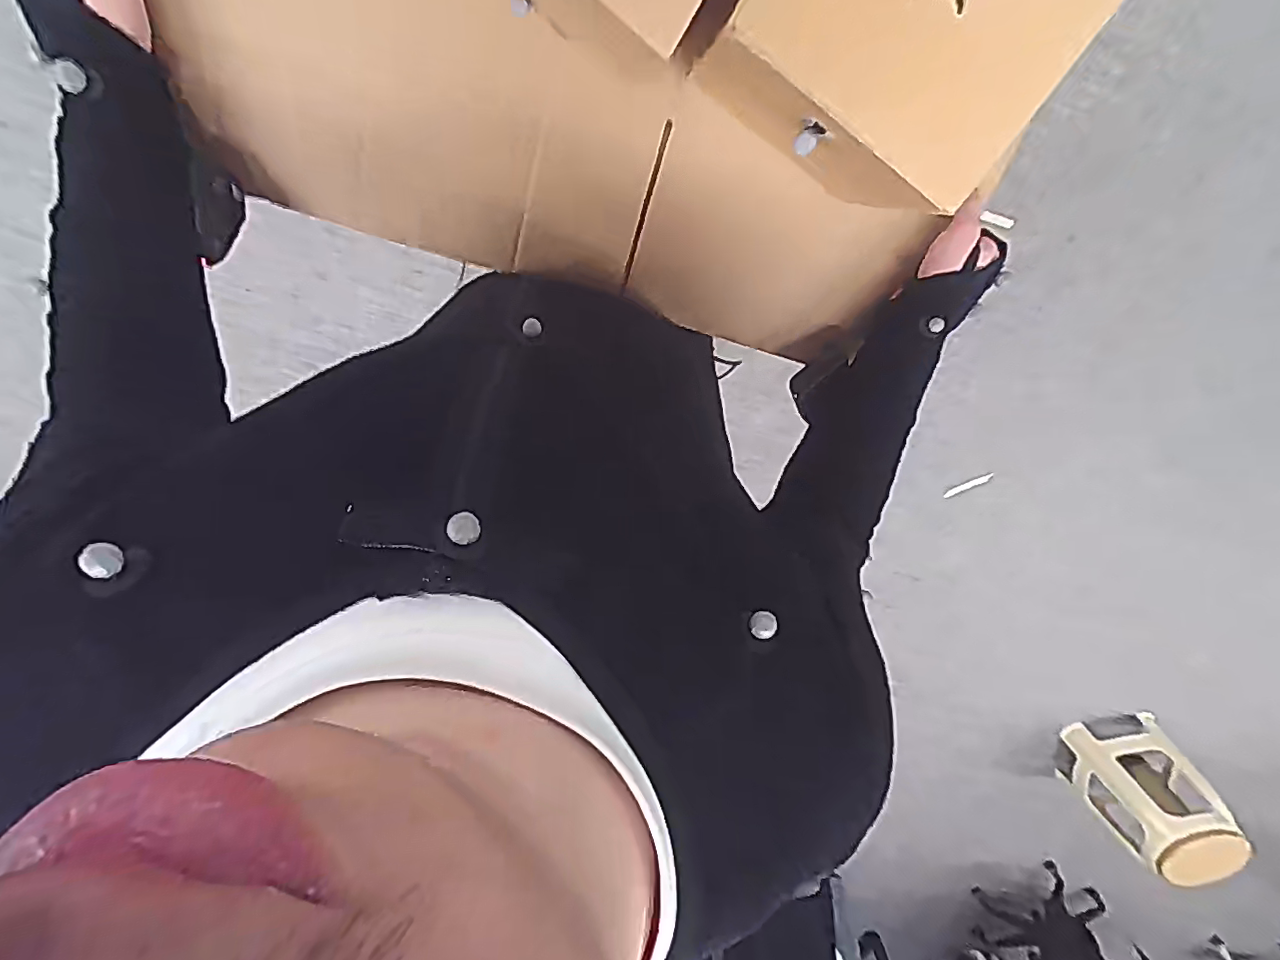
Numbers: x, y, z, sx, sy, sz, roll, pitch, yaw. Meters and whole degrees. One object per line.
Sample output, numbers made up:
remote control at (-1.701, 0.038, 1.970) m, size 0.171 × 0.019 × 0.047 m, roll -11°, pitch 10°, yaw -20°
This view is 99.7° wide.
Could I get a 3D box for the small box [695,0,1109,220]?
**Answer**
small box at (0.157, -0.306, 0.365) m, size 0.179 × 0.176 × 0.168 m, roll 27°, pitch 114°, yaw -16°
